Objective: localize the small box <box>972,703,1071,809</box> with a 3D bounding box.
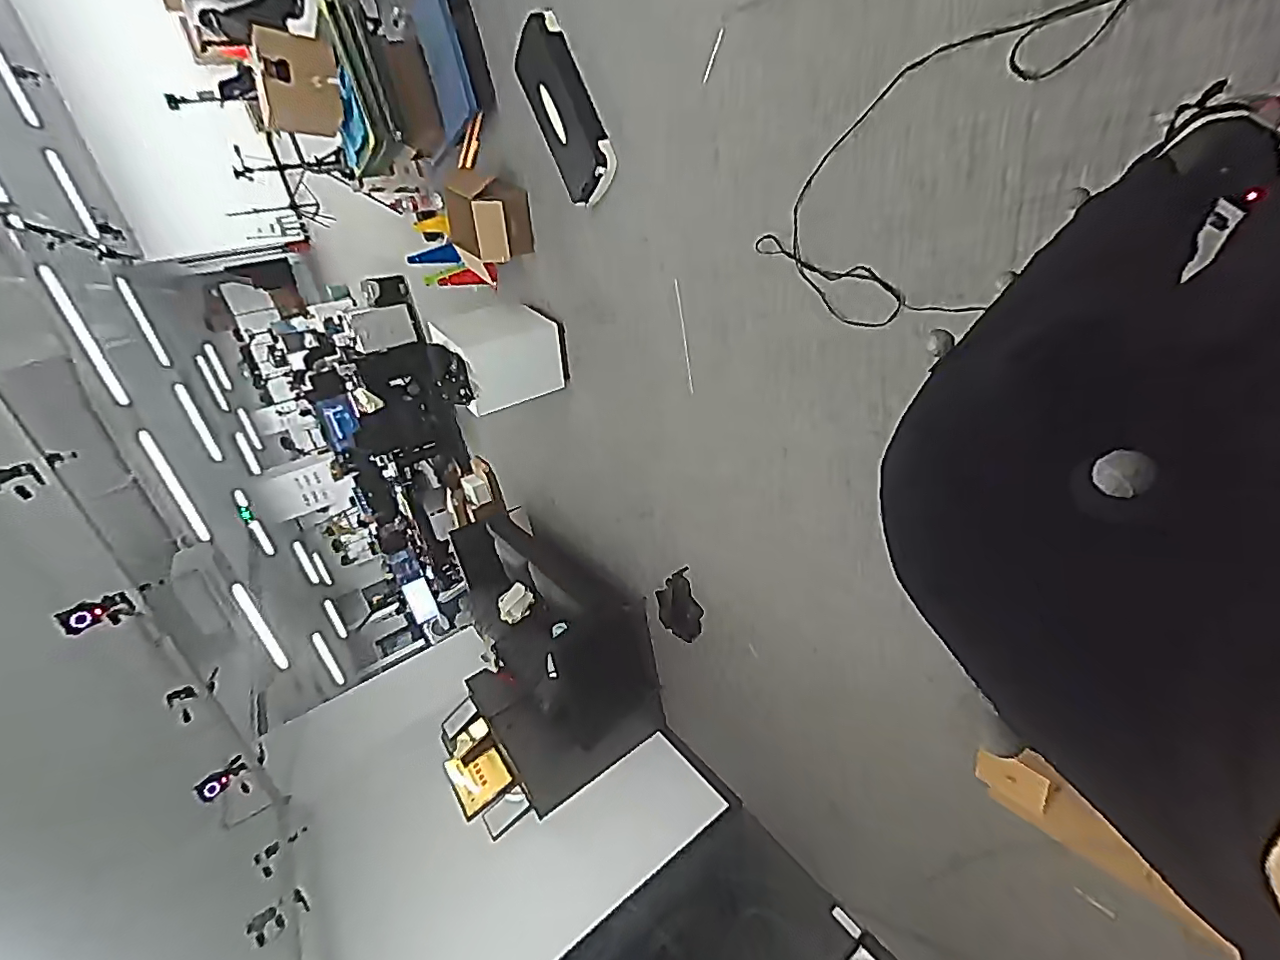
[{"bbox_3d":[1.084,0.775,1.539,0.179,0.176,0.168,26,134,52],"label":"small box"}]
